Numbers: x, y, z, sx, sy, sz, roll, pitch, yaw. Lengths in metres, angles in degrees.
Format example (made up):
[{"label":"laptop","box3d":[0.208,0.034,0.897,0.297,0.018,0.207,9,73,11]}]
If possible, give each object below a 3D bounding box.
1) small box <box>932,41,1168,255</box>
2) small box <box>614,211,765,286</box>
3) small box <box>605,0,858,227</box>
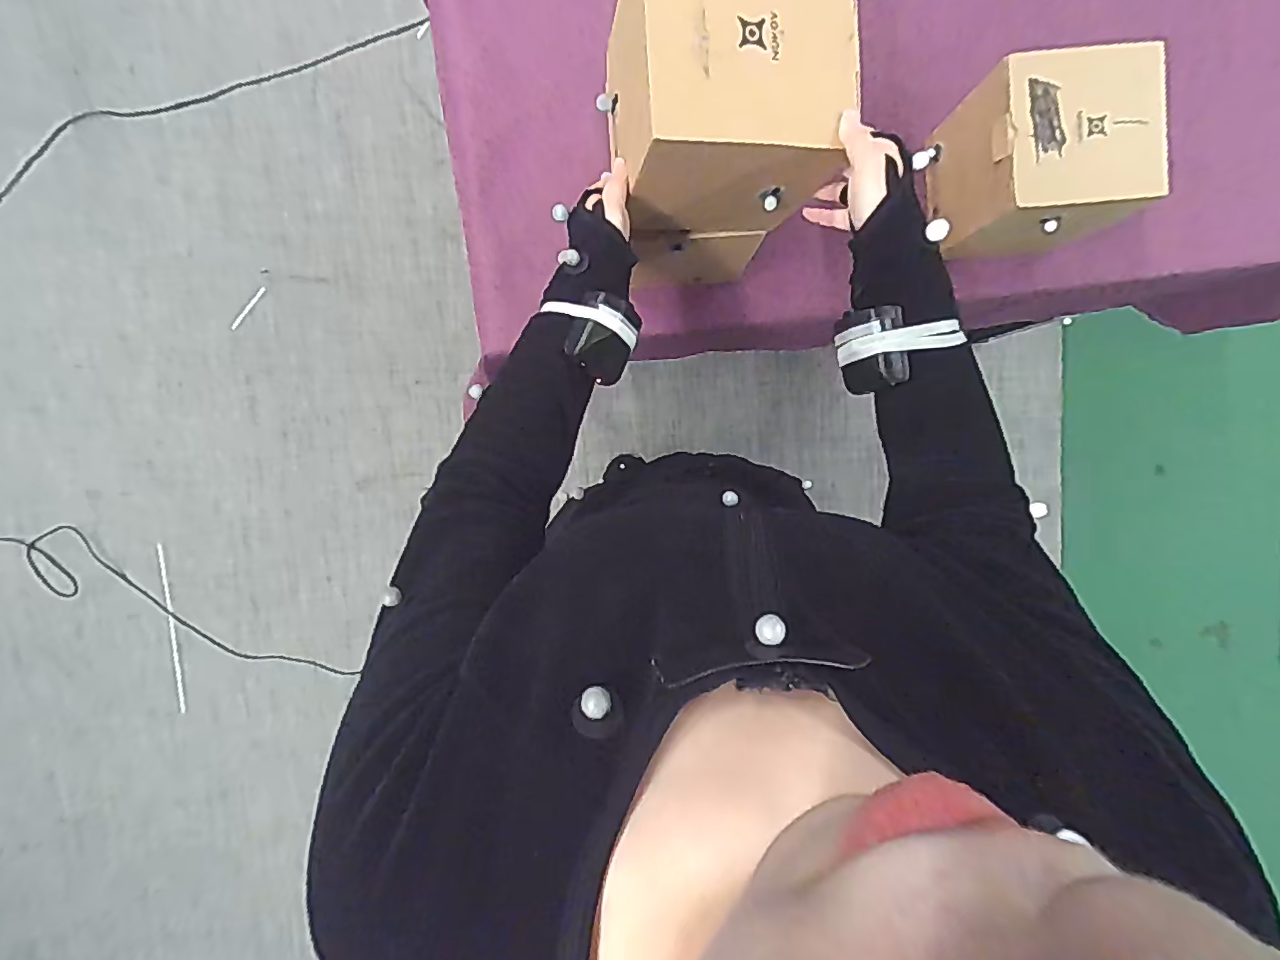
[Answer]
[{"label":"small box","box3d":[0.484,-0.391,0.667,0.179,0.176,0.168,-5,94,-1]},{"label":"small box","box3d":[0.049,-0.356,0.665,0.168,0.176,0.179,-4,93,0]},{"label":"small box","box3d":[0.070,-0.344,0.488,0.179,0.176,0.168,-4,94,-12]}]
